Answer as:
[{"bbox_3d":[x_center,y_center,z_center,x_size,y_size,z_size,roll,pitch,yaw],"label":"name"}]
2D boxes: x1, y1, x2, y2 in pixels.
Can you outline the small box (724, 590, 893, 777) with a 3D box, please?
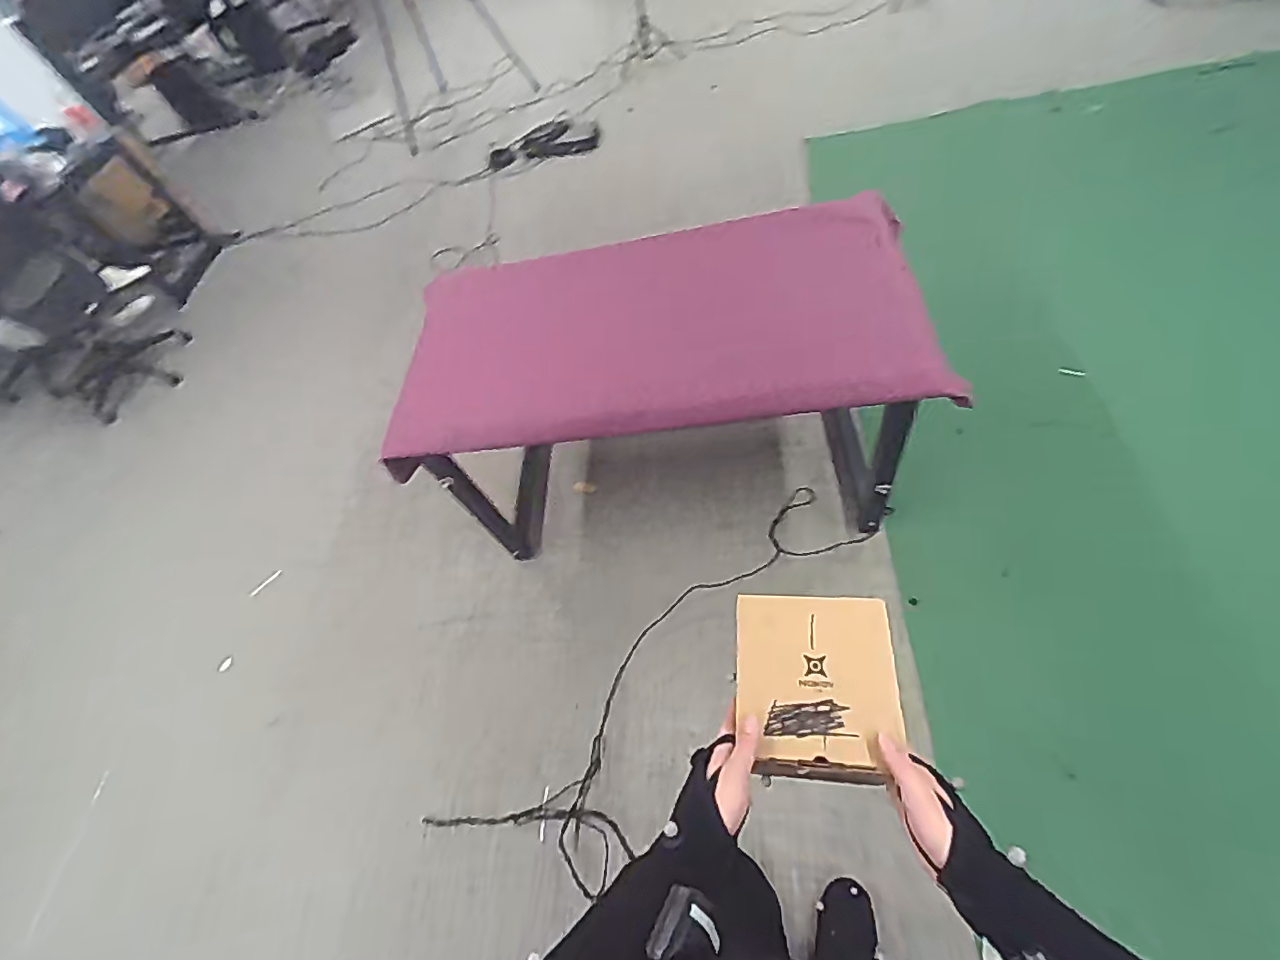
[{"bbox_3d":[0.189,0.246,0.646,0.168,0.176,0.179,0,56,11],"label":"small box"}]
